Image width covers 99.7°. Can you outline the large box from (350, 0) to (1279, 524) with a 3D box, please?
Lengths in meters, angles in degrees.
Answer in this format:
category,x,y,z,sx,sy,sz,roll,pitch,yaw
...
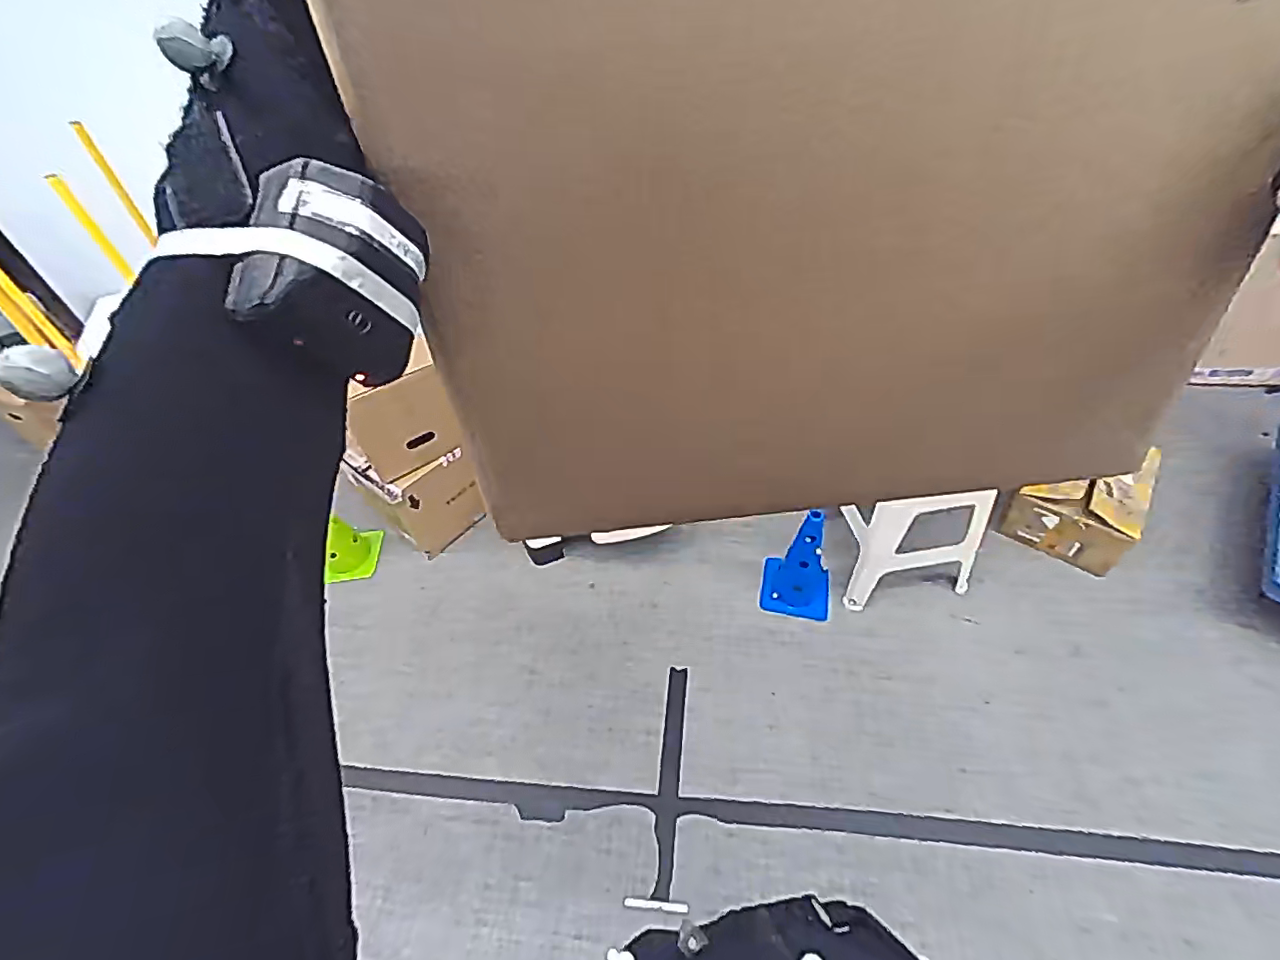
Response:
category,x,y,z,sx,sy,sz,roll,pitch,yaw
large box,0.083,-0.197,0.386,0.408,0.320,0.320,-6,36,0
